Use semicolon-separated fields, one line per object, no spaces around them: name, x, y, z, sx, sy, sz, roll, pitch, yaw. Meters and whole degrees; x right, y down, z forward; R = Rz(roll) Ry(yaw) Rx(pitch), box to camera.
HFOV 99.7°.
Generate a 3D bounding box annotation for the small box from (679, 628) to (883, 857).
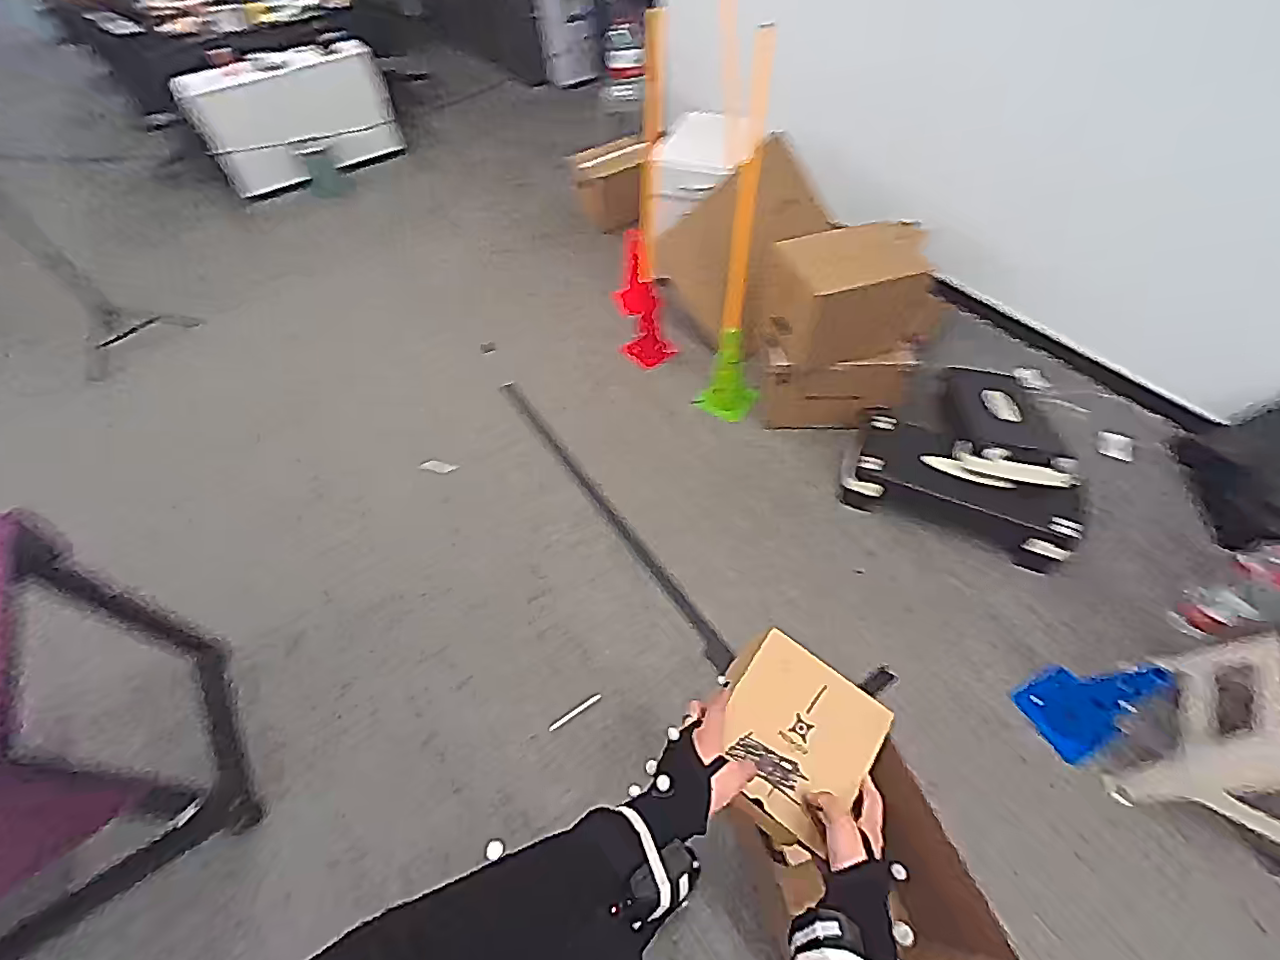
small box;0.161;0.317;0.676;0.168;0.176;0.179;34;68;13
